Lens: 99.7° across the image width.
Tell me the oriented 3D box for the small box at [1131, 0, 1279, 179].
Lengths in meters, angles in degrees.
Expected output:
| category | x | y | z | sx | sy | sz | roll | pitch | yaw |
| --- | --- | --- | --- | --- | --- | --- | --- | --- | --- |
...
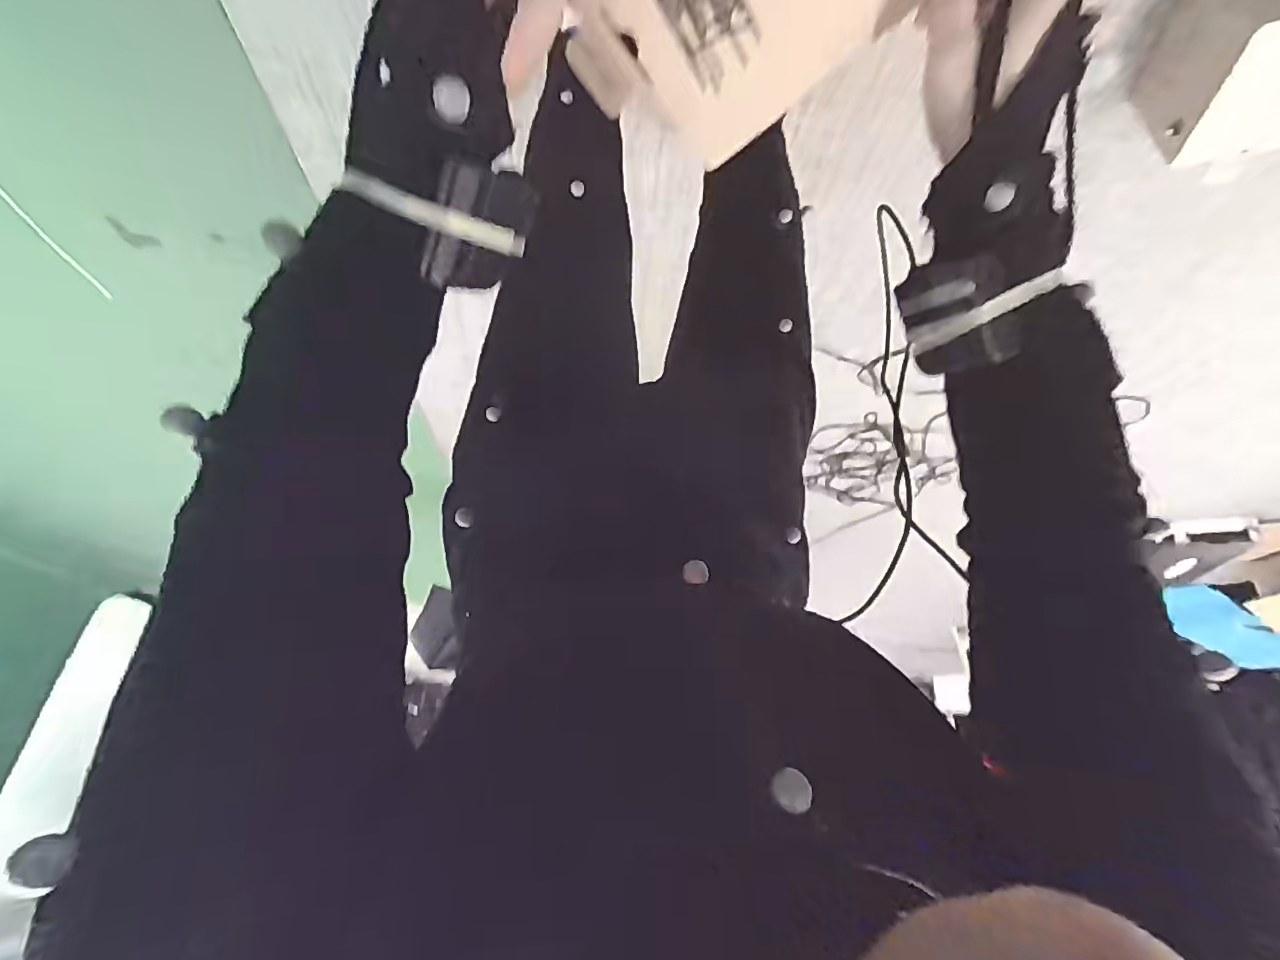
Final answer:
| category | x | y | z | sx | sy | sz | roll | pitch | yaw |
| --- | --- | --- | --- | --- | --- | --- | --- | --- | --- |
| small box | 0.800 | -0.541 | 0.707 | 0.168 | 0.176 | 0.179 | -4 | 152 | 15 |
